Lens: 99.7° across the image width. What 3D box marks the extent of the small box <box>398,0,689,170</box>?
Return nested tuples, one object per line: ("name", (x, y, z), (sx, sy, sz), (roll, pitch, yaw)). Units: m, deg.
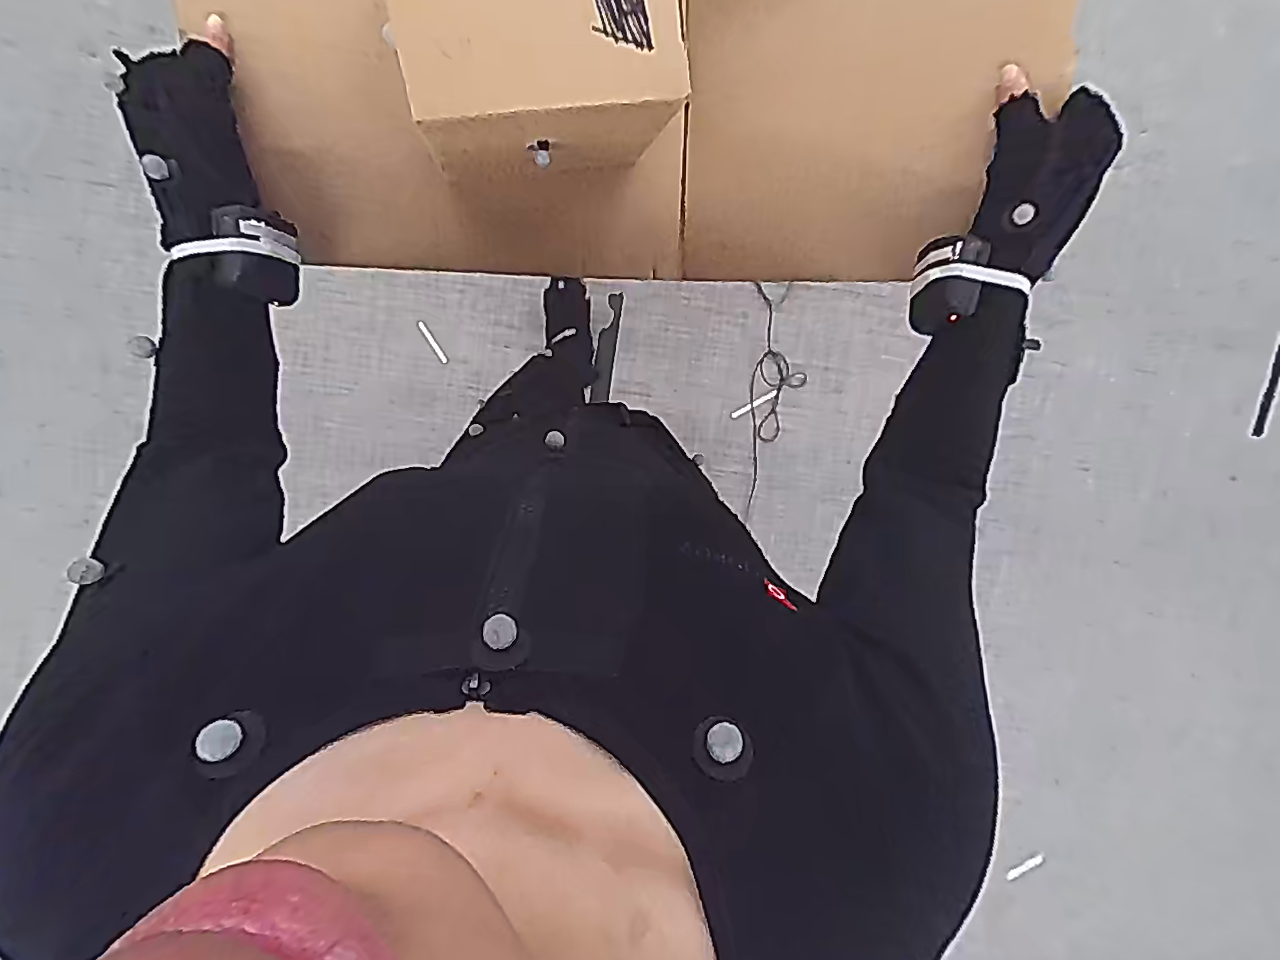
("small box", (-0.077, -0.341, 0.394), (0.179, 0.176, 0.168), (-11, 109, -9))
